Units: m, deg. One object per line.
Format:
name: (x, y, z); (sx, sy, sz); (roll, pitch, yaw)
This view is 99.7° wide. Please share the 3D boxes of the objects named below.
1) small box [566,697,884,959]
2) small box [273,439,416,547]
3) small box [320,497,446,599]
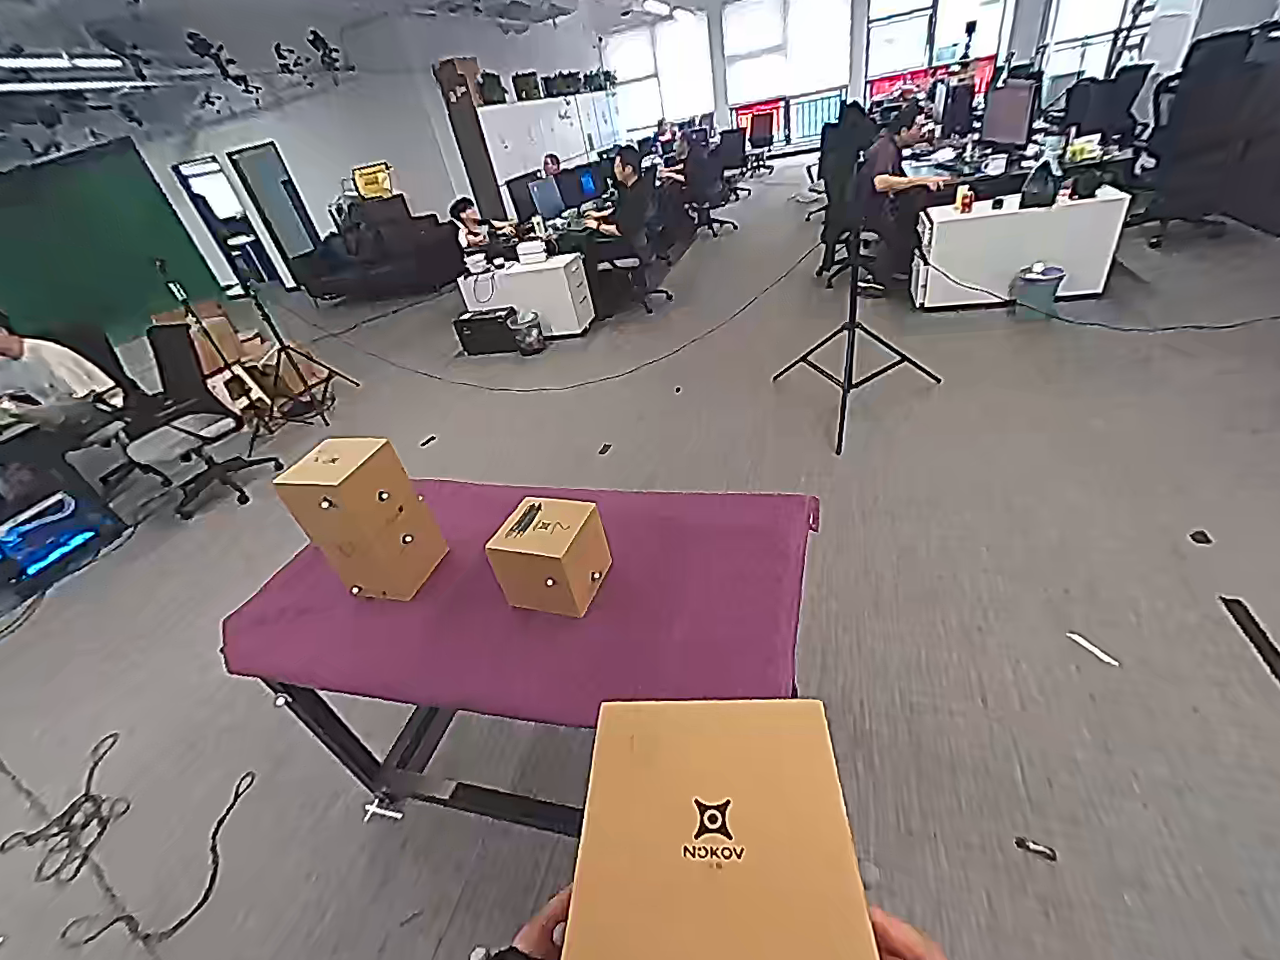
small box: (0.056, 0.277, 0.375); (0.168, 0.176, 0.179); (-4, 34, 8)
small box: (-0.619, 0.028, 1.158); (0.179, 0.176, 0.168); (1, 37, 18)
small box: (-0.585, 0.155, 1.258); (0.168, 0.176, 0.179); (2, 37, 19)
